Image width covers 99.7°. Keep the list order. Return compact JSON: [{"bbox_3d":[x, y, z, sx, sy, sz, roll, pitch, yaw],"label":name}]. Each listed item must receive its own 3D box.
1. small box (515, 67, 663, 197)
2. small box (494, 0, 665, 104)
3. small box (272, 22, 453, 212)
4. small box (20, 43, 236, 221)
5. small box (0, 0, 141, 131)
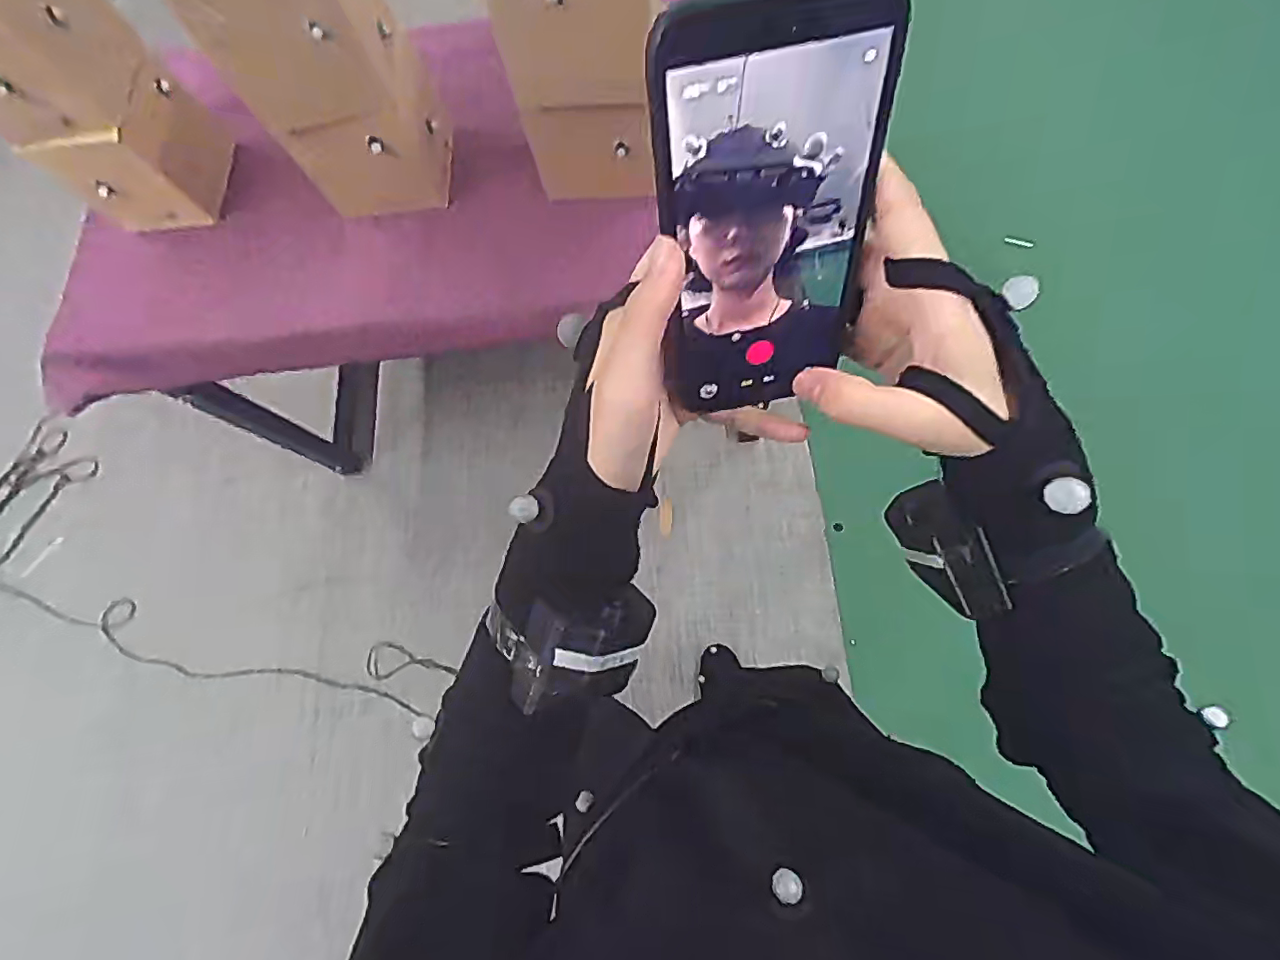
[{"bbox_3d":[-0.060,-0.535,0.780,0.179,0.176,0.168,3,74,7],"label":"small box"},{"bbox_3d":[-0.067,-0.566,0.619,0.179,0.176,0.168,3,74,6],"label":"small box"},{"bbox_3d":[-0.399,-0.532,0.812,0.179,0.176,0.168,-3,73,5],"label":"small box"},{"bbox_3d":[-0.788,-0.533,0.854,0.168,0.176,0.179,-2,74,5],"label":"small box"},{"bbox_3d":[-0.805,-0.587,0.699,0.168,0.176,0.179,-7,74,3],"label":"small box"}]
